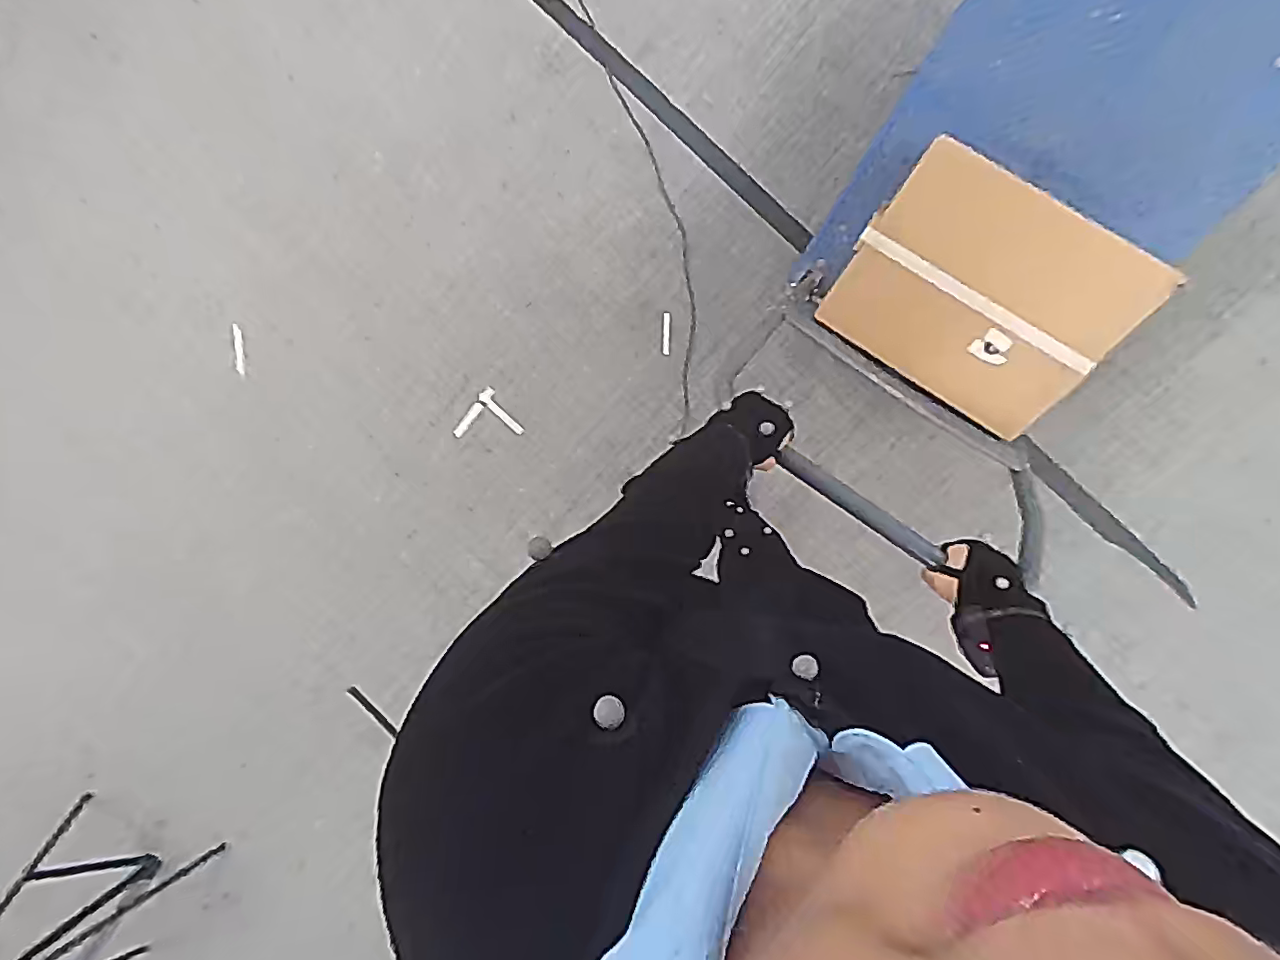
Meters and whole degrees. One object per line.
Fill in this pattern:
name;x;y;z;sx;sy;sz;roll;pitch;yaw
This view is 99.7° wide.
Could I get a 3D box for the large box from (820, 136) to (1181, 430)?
large box;0.603;-0.365;0.997;0.408;0.320;0.320;35;125;5
